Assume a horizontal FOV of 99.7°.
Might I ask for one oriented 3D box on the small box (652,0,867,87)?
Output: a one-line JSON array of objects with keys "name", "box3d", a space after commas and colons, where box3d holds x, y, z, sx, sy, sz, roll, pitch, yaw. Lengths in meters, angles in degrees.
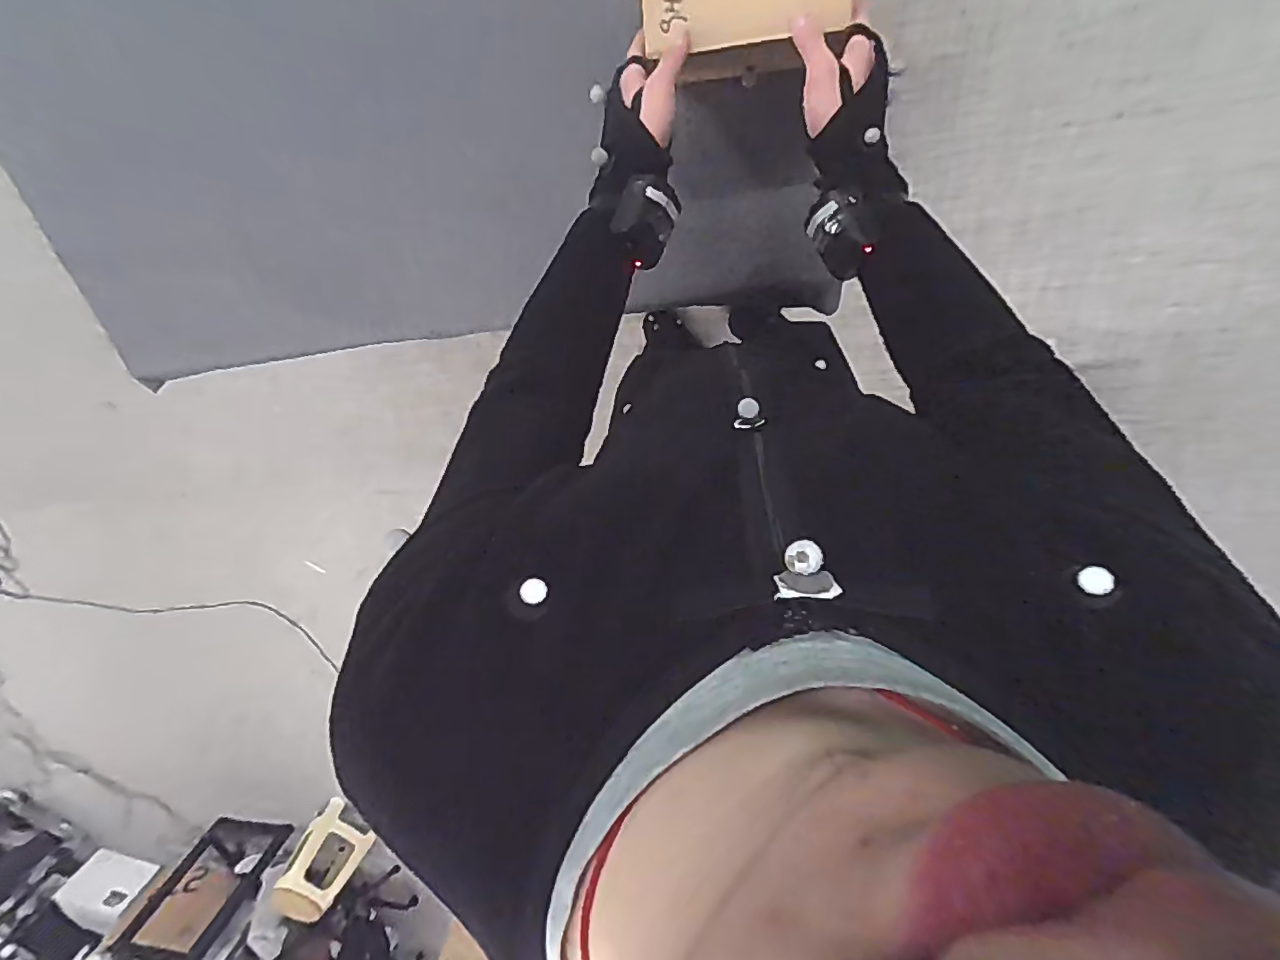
[{"name": "small box", "box3d": [0.105, -0.473, 0.489, 0.179, 0.176, 0.168, 1, 120, 11]}]
